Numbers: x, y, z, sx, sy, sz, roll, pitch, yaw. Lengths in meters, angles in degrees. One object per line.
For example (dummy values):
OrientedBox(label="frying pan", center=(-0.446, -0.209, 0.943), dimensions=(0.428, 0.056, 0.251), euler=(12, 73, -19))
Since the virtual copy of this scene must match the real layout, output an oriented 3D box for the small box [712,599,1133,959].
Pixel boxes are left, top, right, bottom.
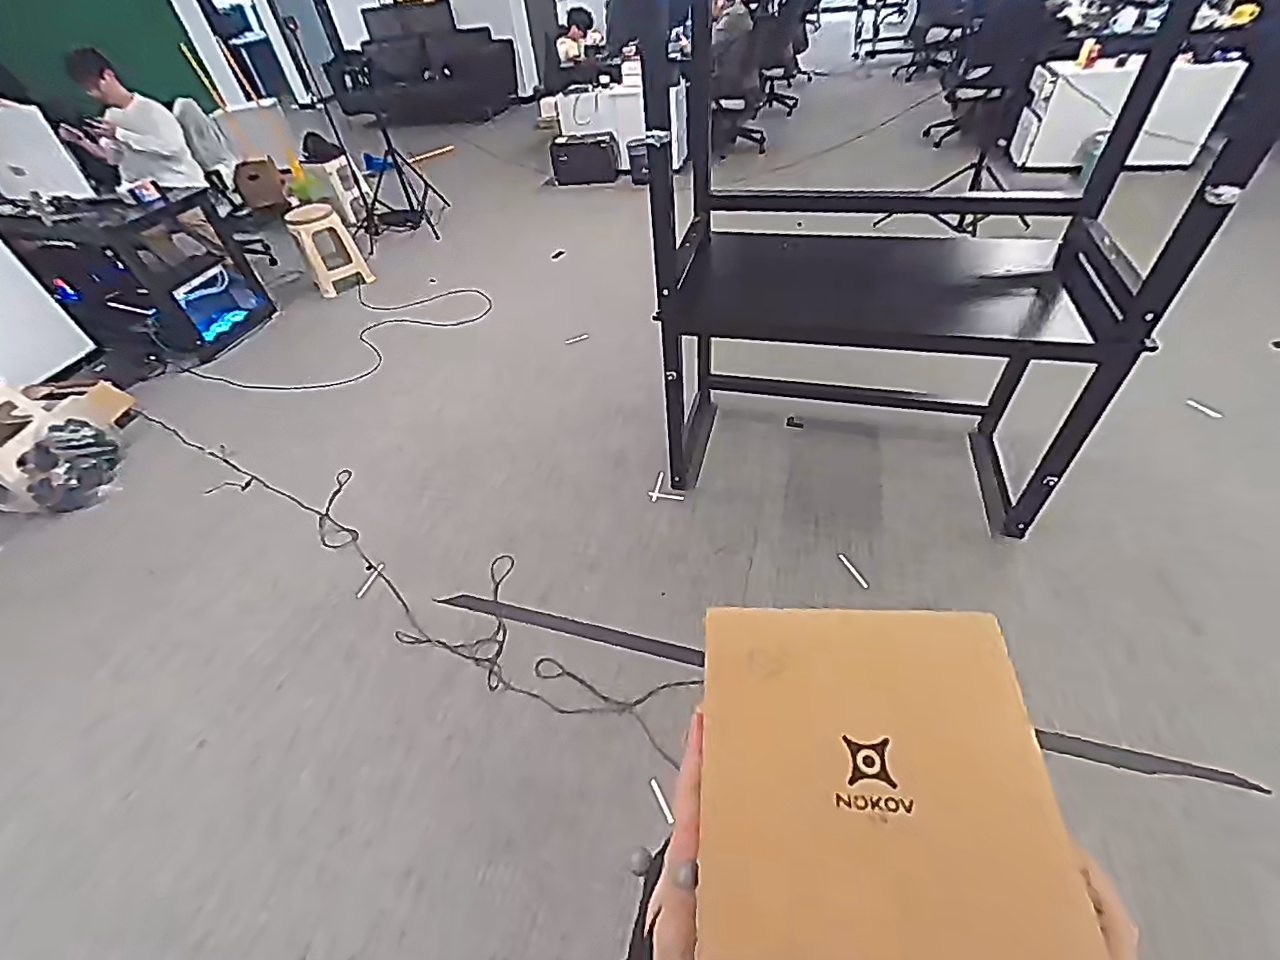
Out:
OrientedBox(label="small box", center=(0.128, 0.190, 0.325), dimensions=(0.168, 0.176, 0.179), euler=(-1, 51, 9))
